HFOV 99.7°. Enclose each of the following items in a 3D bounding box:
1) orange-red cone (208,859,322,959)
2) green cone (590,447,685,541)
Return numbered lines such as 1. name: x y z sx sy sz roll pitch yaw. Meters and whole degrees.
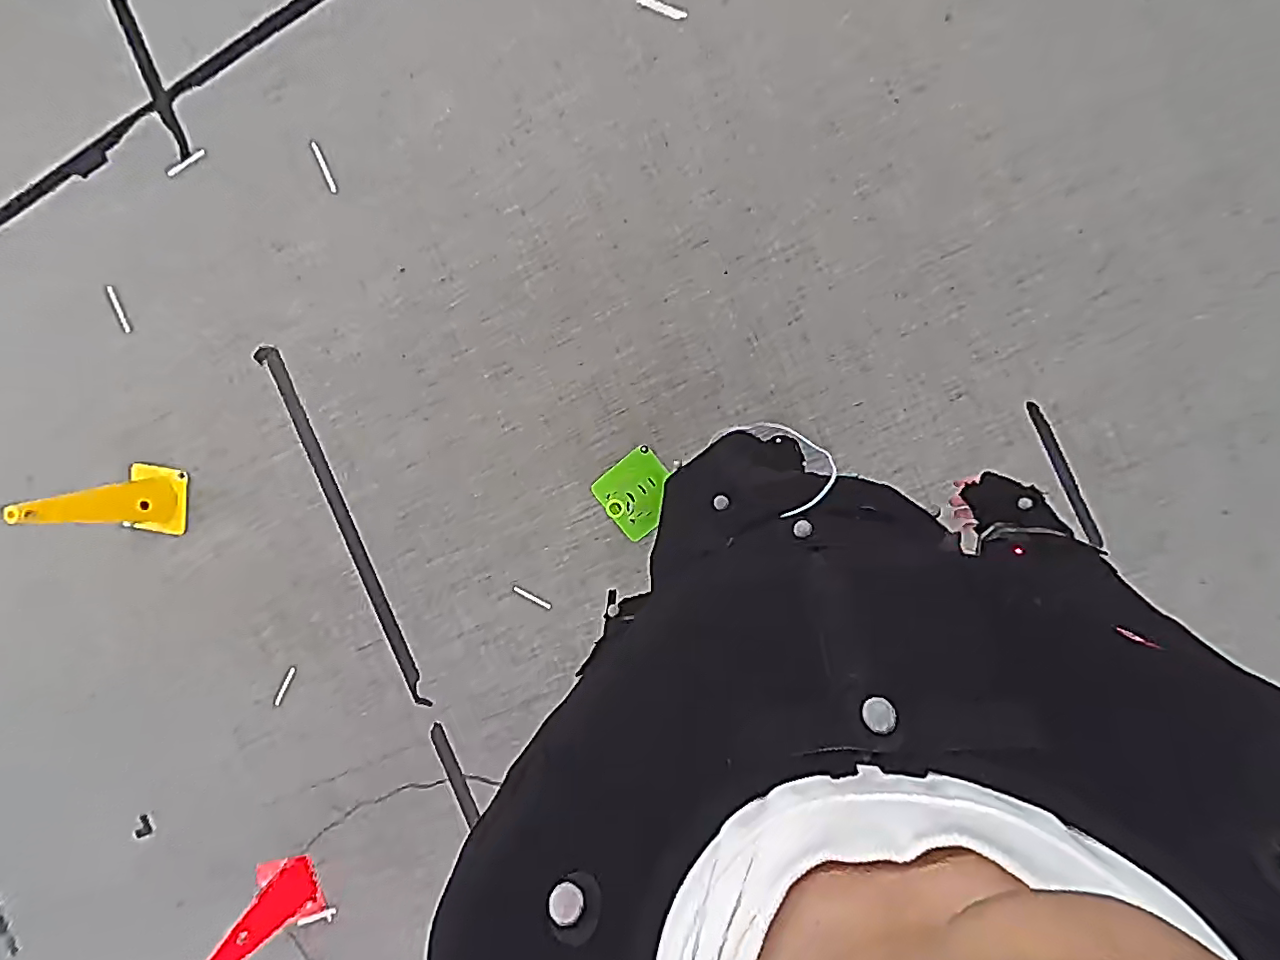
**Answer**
1. orange-red cone: -1.134 1.308 1.535 0.198 0.360 0.199 -16 90 9
2. green cone: -0.032 0.052 1.288 0.200 0.368 0.202 -40 89 9
